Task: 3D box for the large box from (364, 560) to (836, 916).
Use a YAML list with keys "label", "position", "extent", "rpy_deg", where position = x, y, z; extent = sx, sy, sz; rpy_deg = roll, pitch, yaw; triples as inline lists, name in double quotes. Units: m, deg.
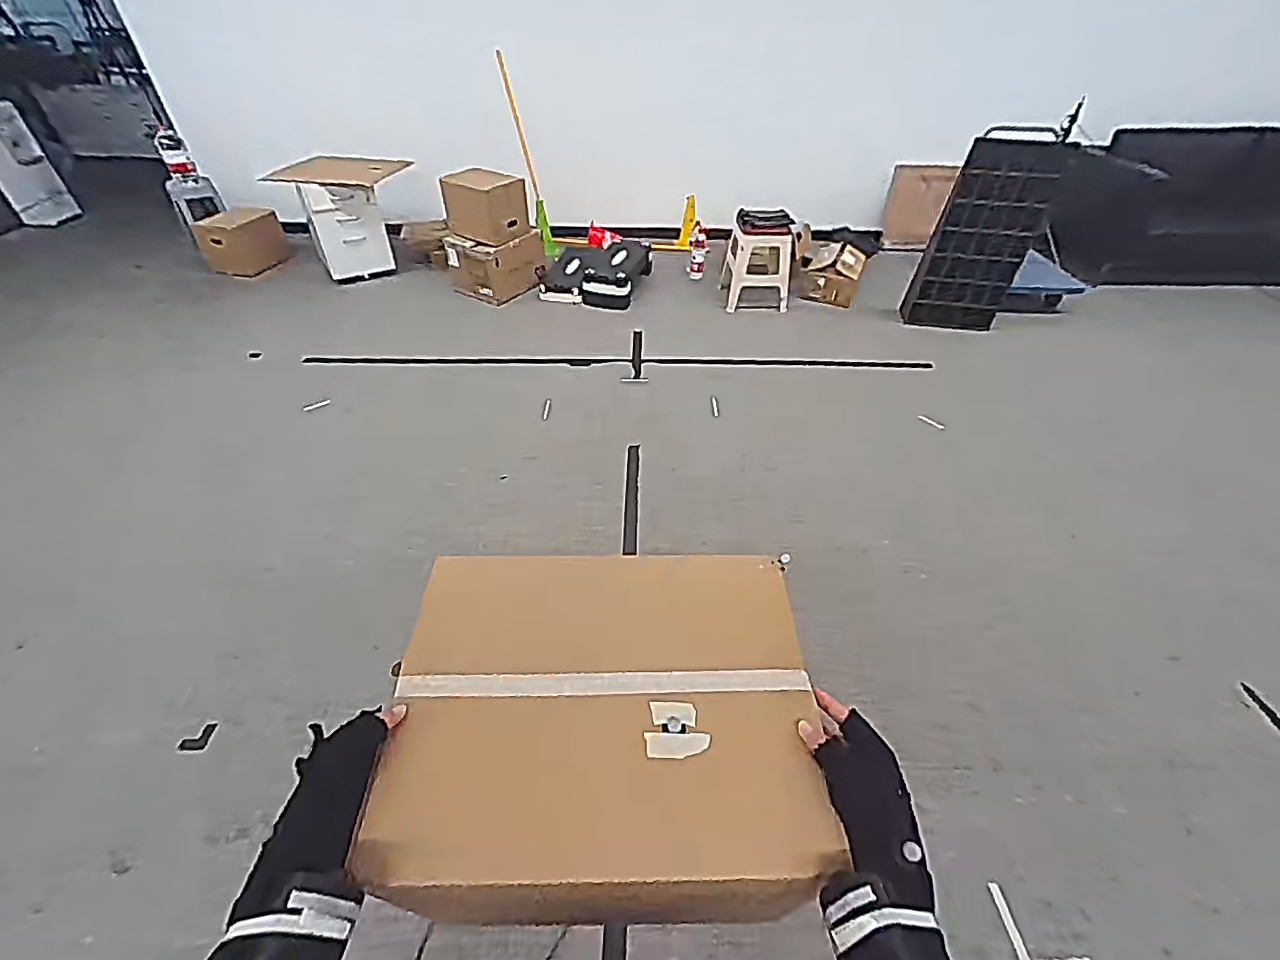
- label: "large box"
  position: [-0.039, 0.311, 0.657]
  extent: [0.408, 0.320, 0.320]
  rpy_deg: [0, 47, -2]
